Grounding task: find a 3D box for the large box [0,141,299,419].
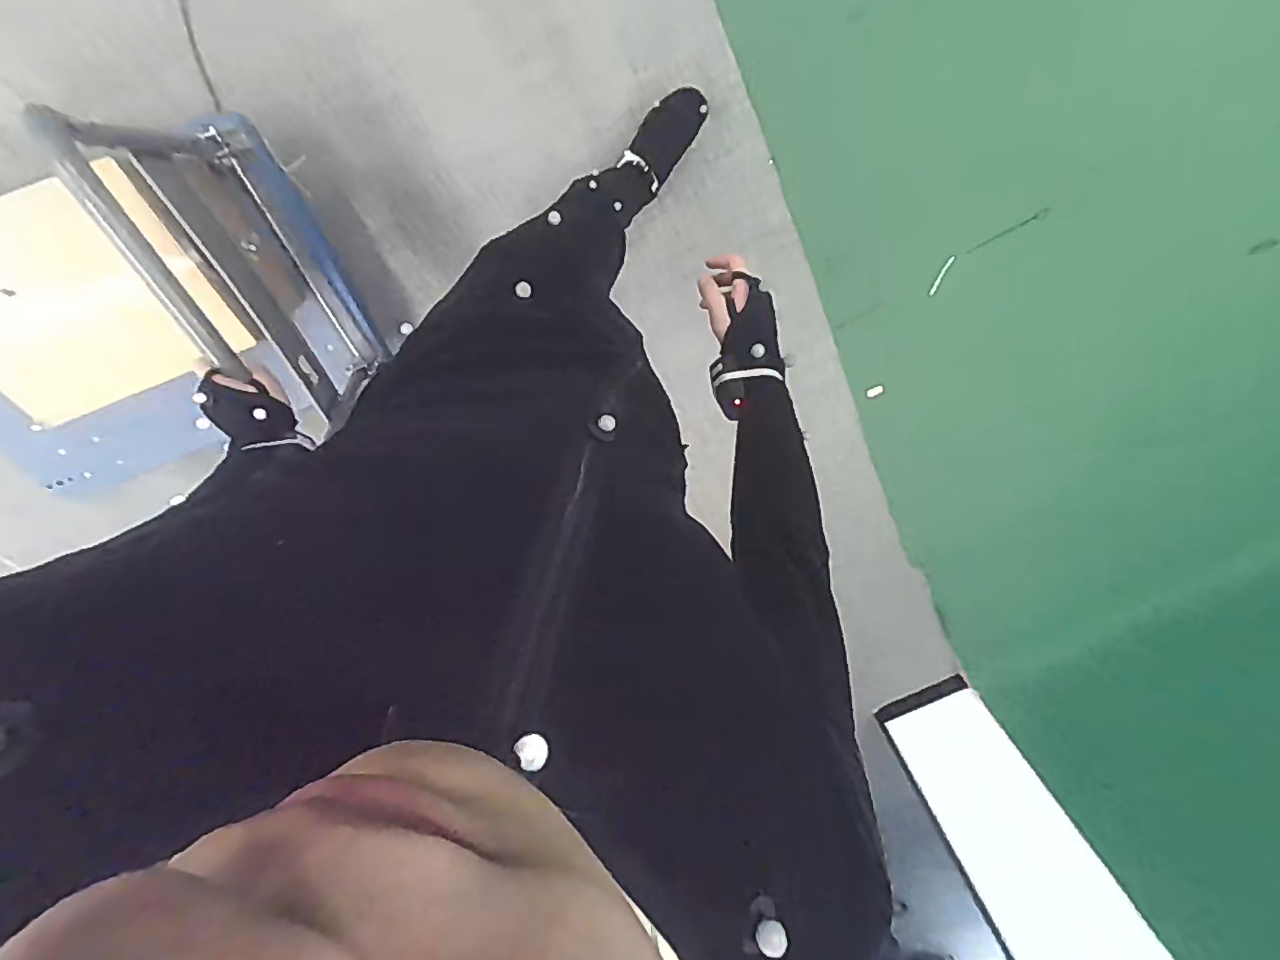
[{"bbox_3d":[-0.942,-0.378,0.992,0.408,0.320,0.320,-23,125,-2],"label":"large box"}]
